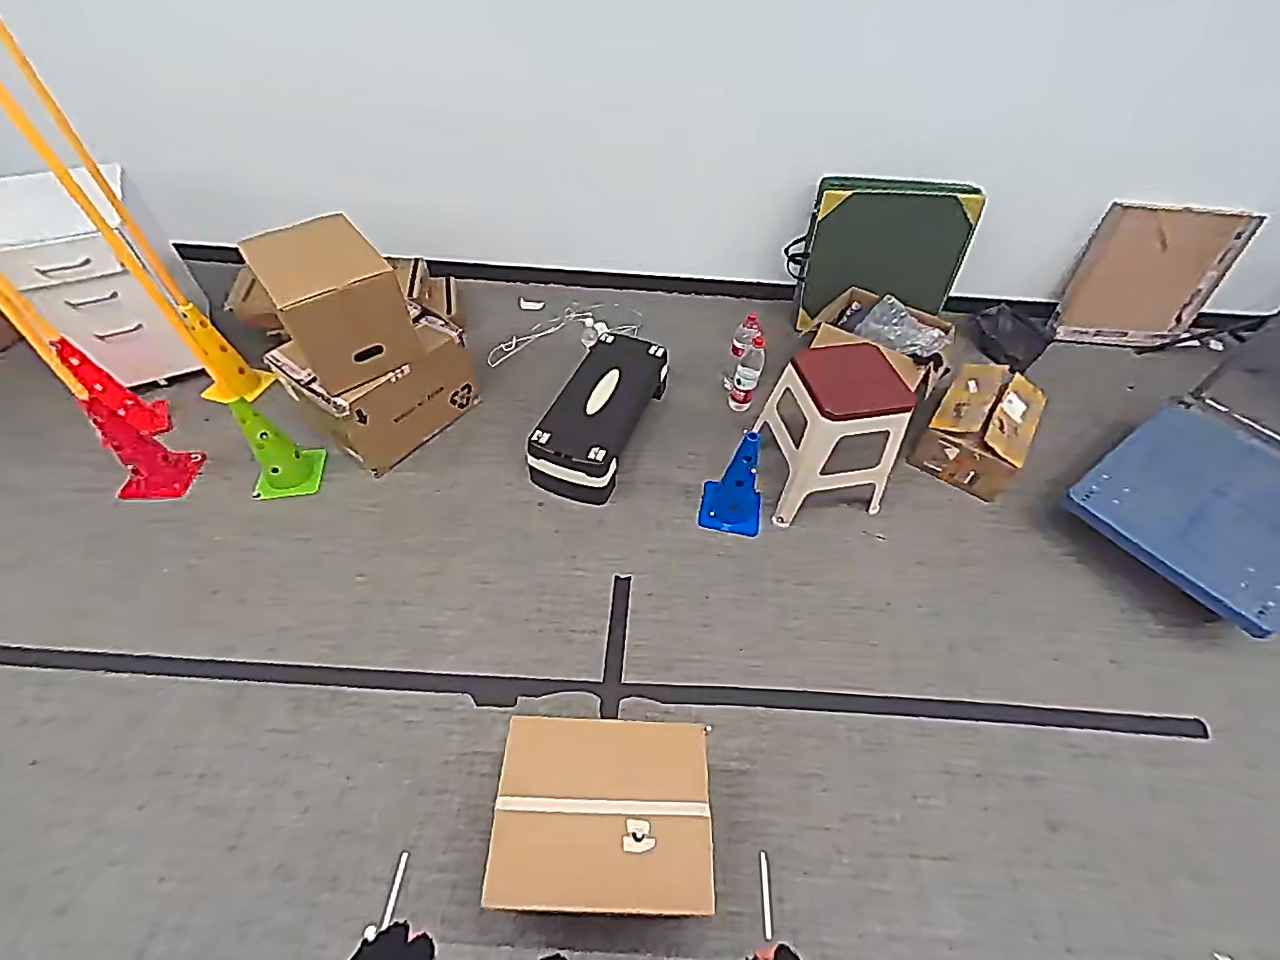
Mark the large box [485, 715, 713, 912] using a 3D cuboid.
[{"bbox_3d":[-0.079,0.707,1.136,0.408,0.320,0.320,4,51,-2],"label":"large box"}]
